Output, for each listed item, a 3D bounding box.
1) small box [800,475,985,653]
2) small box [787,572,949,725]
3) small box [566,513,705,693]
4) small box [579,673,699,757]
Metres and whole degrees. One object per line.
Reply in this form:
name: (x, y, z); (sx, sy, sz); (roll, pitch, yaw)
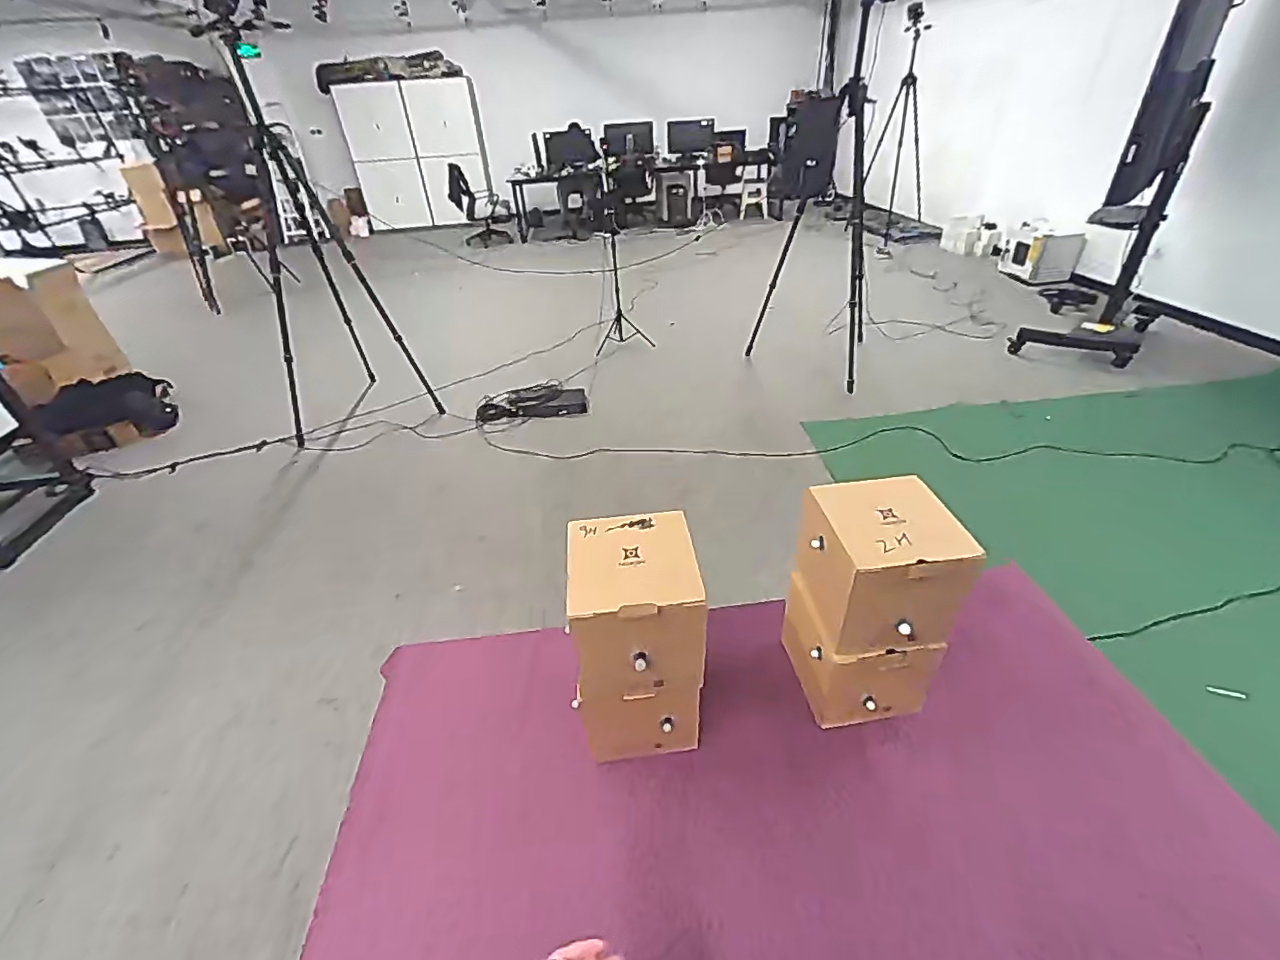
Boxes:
small box: (0.338, 0.116, 0.768); (0.168, 0.176, 0.179); (-7, 36, -2)
small box: (0.344, 0.255, 0.858); (0.168, 0.176, 0.179); (-8, 36, -4)
small box: (-0.006, 0.170, 0.736); (0.168, 0.176, 0.179); (-6, 36, -3)
small box: (-0.002, 0.304, 0.833); (0.168, 0.176, 0.179); (-6, 35, -3)
